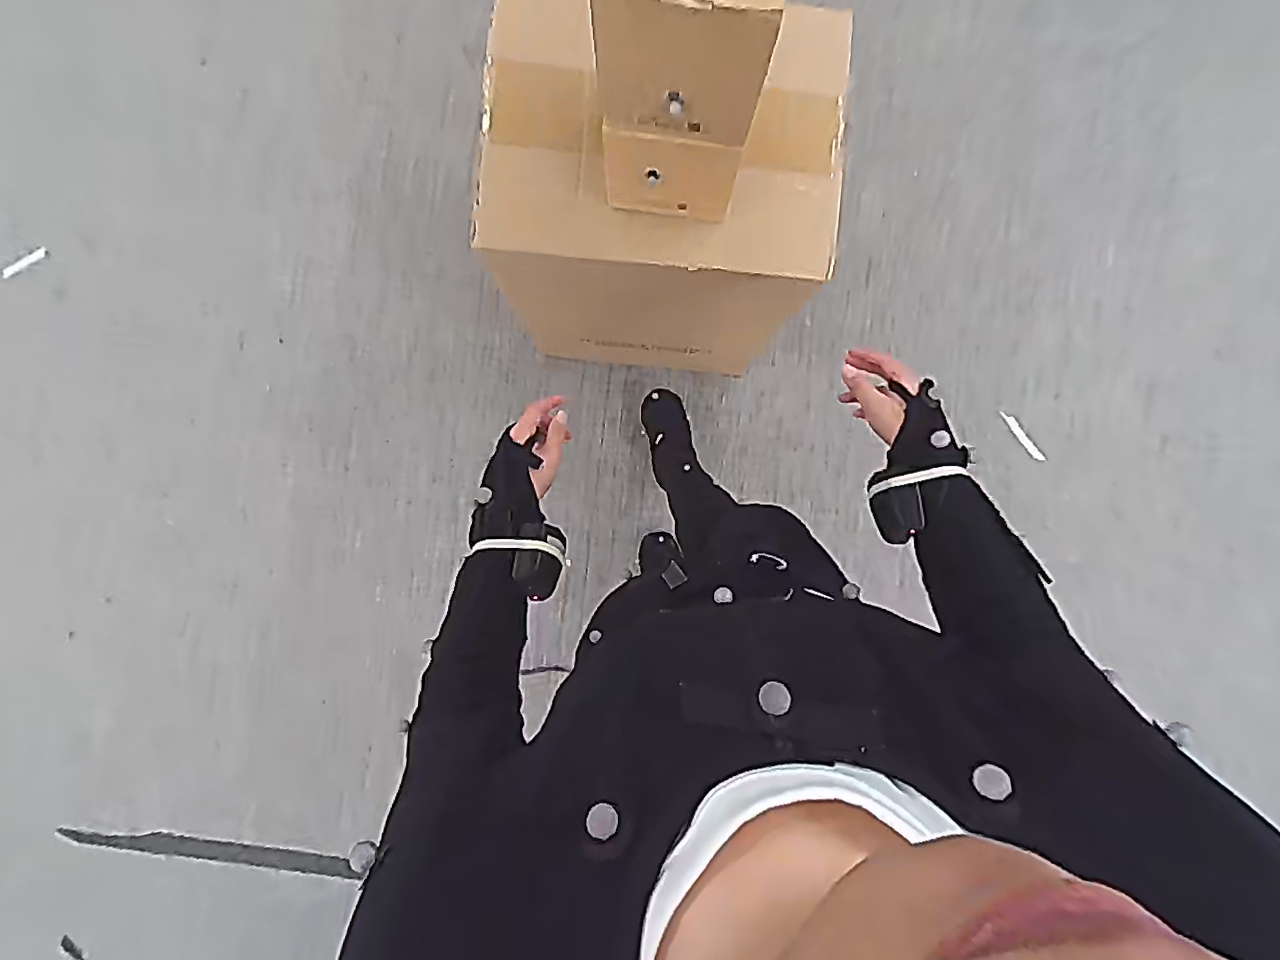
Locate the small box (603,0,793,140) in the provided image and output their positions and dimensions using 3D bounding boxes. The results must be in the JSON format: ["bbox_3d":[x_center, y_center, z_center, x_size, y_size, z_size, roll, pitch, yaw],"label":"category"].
[{"bbox_3d":[0.058,-0.478,0.524,0.168,0.176,0.179,10,88,1],"label":"small box"}]

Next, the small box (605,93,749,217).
[{"bbox_3d":[0.053,-0.465,0.688,0.168,0.176,0.179,8,87,0],"label":"small box"}]
